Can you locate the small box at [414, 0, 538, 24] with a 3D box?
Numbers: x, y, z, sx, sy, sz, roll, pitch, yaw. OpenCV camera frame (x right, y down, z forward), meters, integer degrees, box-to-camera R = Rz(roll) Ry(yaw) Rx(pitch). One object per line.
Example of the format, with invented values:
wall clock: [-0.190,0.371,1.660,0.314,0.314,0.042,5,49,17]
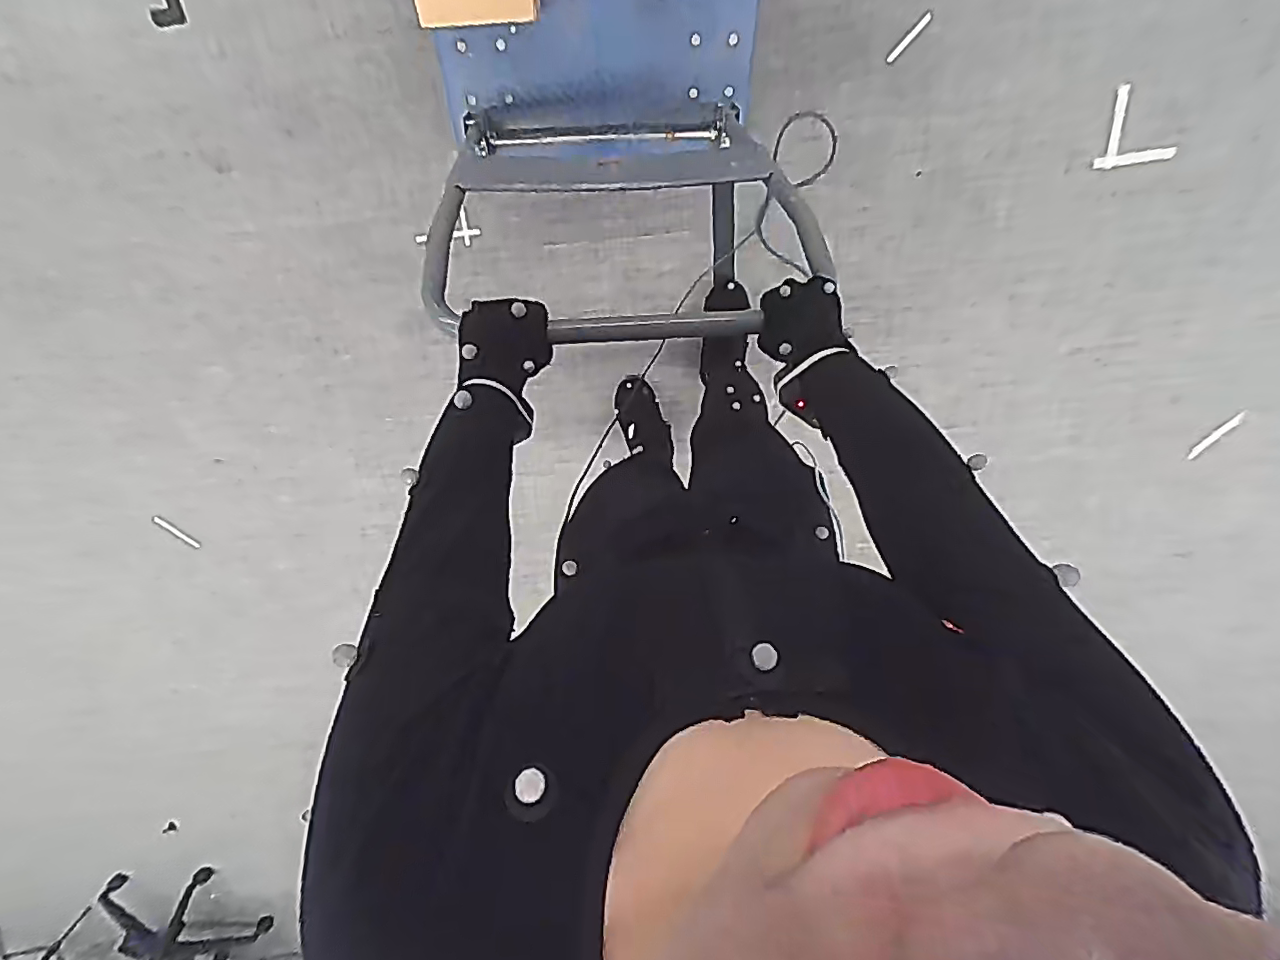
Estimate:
small box: [-0.256,-0.805,0.817,0.179,0.176,0.168,-7,134,-3]
